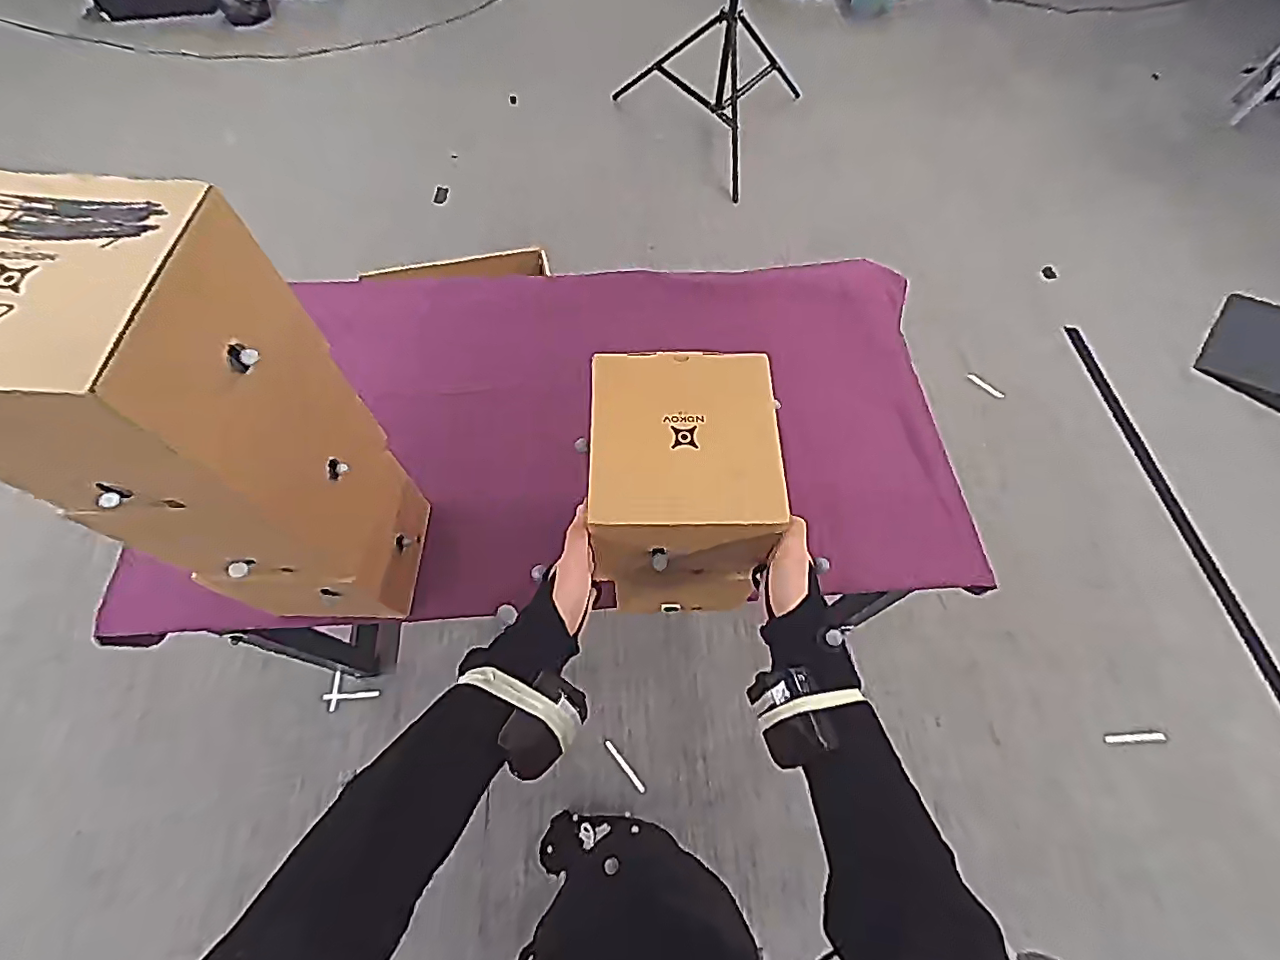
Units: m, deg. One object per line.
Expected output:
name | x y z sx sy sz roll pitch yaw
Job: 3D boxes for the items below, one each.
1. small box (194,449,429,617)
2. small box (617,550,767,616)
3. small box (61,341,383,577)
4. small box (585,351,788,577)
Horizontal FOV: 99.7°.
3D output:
small box | -0.385 0.070 0.677 0.179 0.176 0.168 1 62 -1
small box | 0.052 0.066 0.693 0.168 0.176 0.179 -3 64 -2
small box | -0.378 -0.014 0.536 0.168 0.176 0.179 0 63 -2
small box | 0.039 -0.006 0.538 0.168 0.176 0.179 -1 63 0
